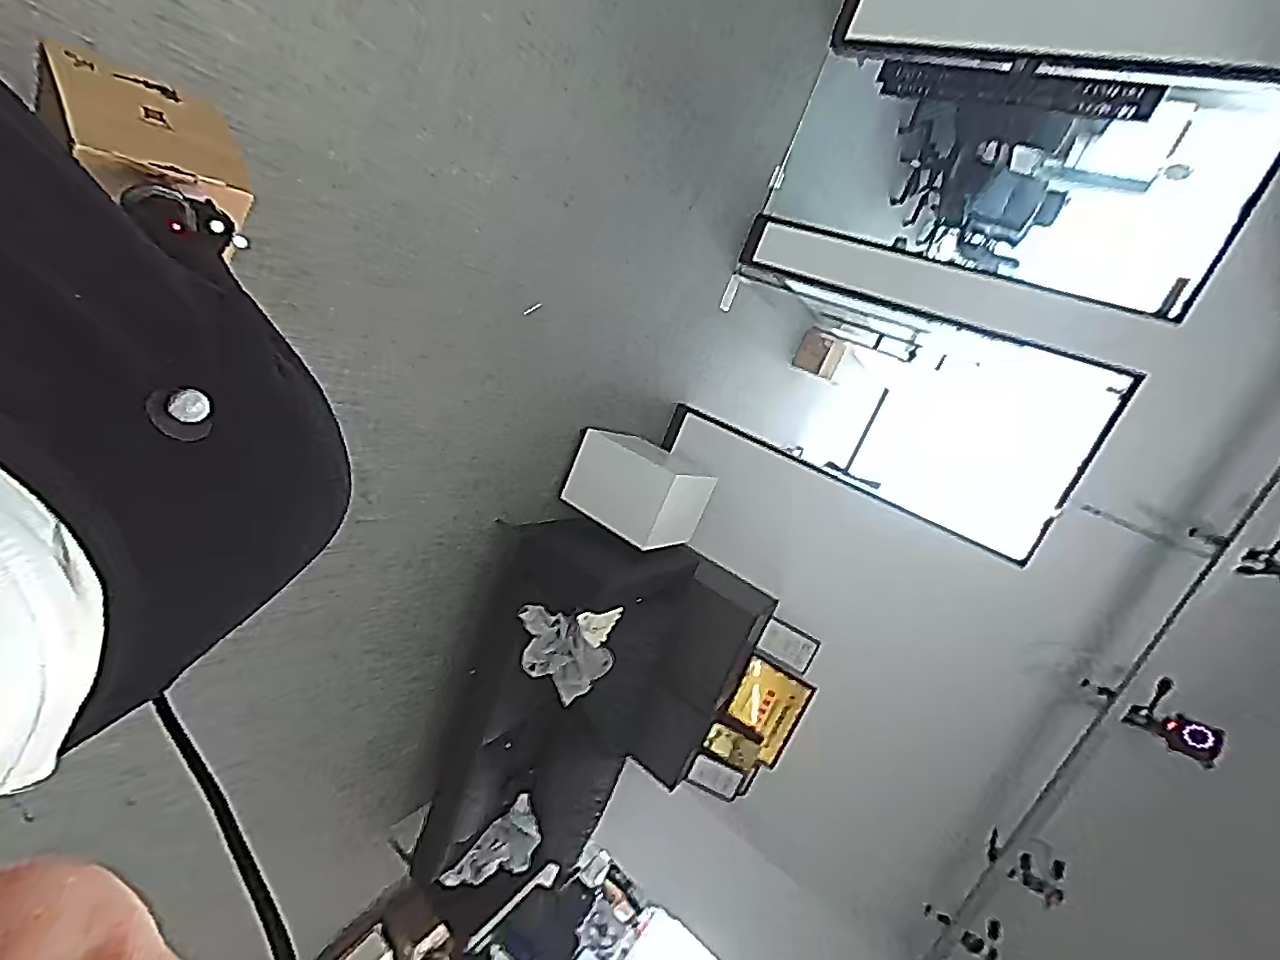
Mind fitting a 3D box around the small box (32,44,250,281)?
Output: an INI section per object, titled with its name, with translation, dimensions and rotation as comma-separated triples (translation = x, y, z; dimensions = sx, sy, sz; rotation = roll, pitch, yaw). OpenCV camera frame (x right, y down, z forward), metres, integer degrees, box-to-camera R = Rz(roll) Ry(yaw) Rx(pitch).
[small box]
translation = -0.641, -0.386, 0.696
dimensions = 0.176, 0.179, 0.168
rotation = -38, 166, 34
